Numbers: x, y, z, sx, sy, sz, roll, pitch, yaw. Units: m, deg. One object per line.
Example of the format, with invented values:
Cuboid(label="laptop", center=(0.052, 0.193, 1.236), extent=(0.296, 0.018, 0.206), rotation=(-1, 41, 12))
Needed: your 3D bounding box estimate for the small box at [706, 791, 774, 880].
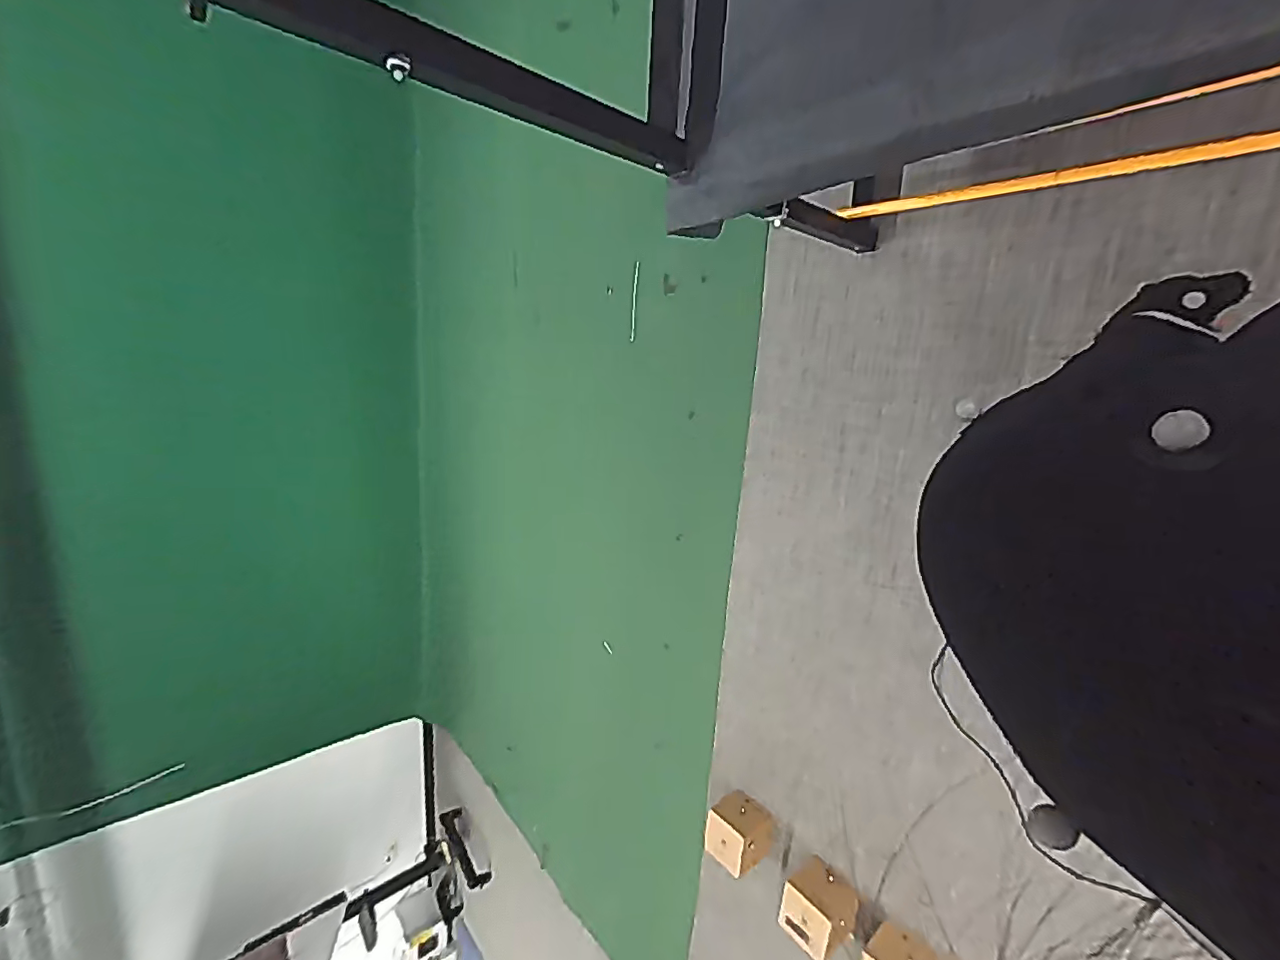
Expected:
Cuboid(label="small box", center=(0.367, 1.282, 1.968), extent=(0.168, 0.176, 0.179), rotation=(19, 108, 48))

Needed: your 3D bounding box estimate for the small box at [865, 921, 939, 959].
Cuboid(label="small box", center=(0.746, 1.426, 1.539), extent=(0.168, 0.176, 0.179), rotation=(17, 108, 47))
